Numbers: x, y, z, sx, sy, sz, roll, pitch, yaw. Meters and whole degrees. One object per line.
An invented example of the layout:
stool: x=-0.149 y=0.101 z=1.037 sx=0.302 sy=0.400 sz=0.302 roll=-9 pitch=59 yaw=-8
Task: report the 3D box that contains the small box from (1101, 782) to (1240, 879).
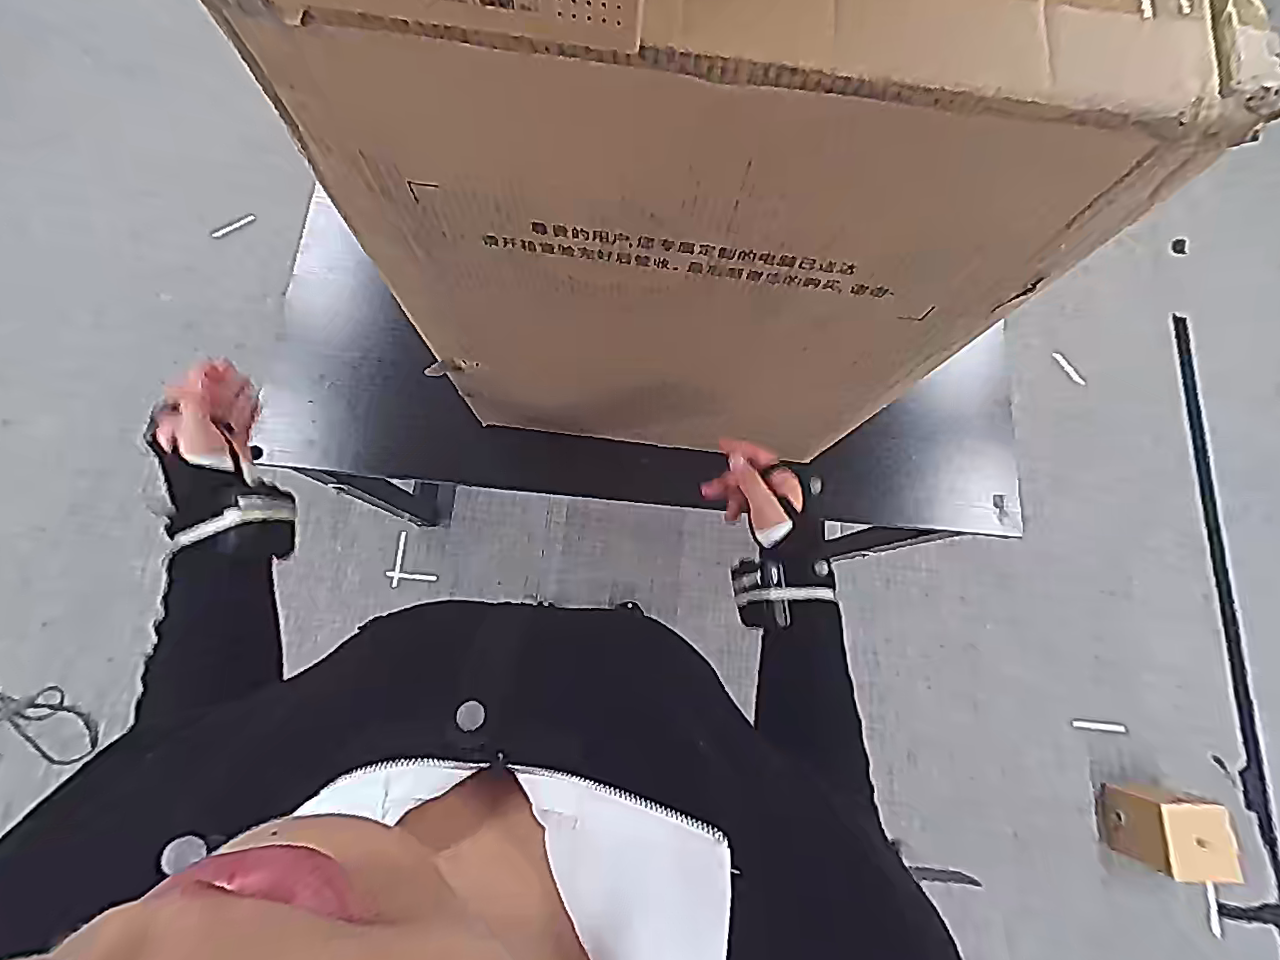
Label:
small box: x=1.341 y=0.886 z=1.379 sx=0.179 sy=0.176 sz=0.168 roll=2 pitch=75 yaw=-2
